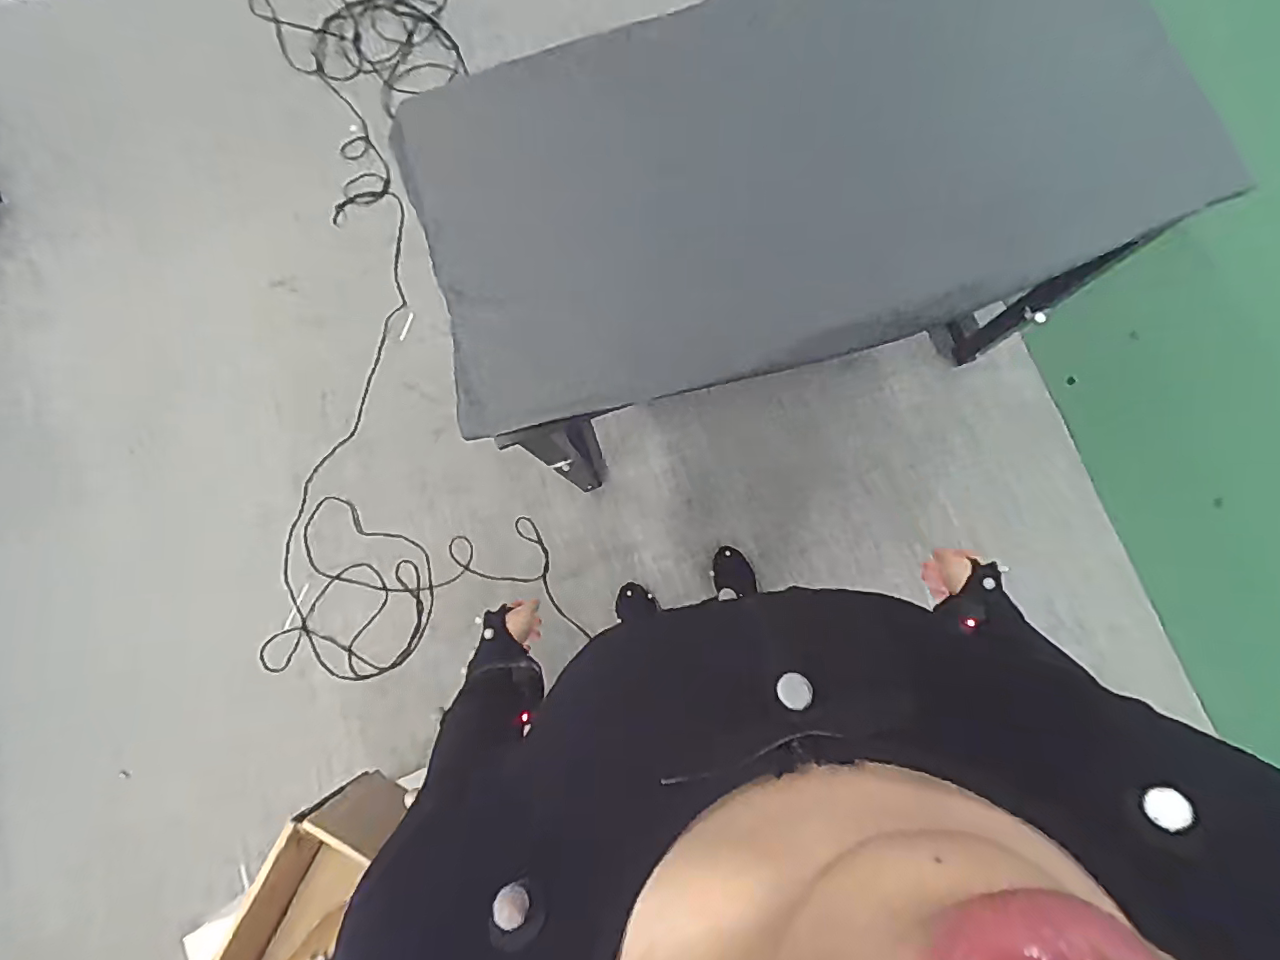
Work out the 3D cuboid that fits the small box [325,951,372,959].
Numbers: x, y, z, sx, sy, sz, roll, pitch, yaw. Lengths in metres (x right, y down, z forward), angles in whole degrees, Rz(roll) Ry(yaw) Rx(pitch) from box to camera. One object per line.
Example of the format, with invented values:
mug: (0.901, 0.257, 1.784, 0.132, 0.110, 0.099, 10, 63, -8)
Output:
small box: (-0.373, 0.660, 0.572, 0.168, 0.176, 0.179, -29, 84, 0)
